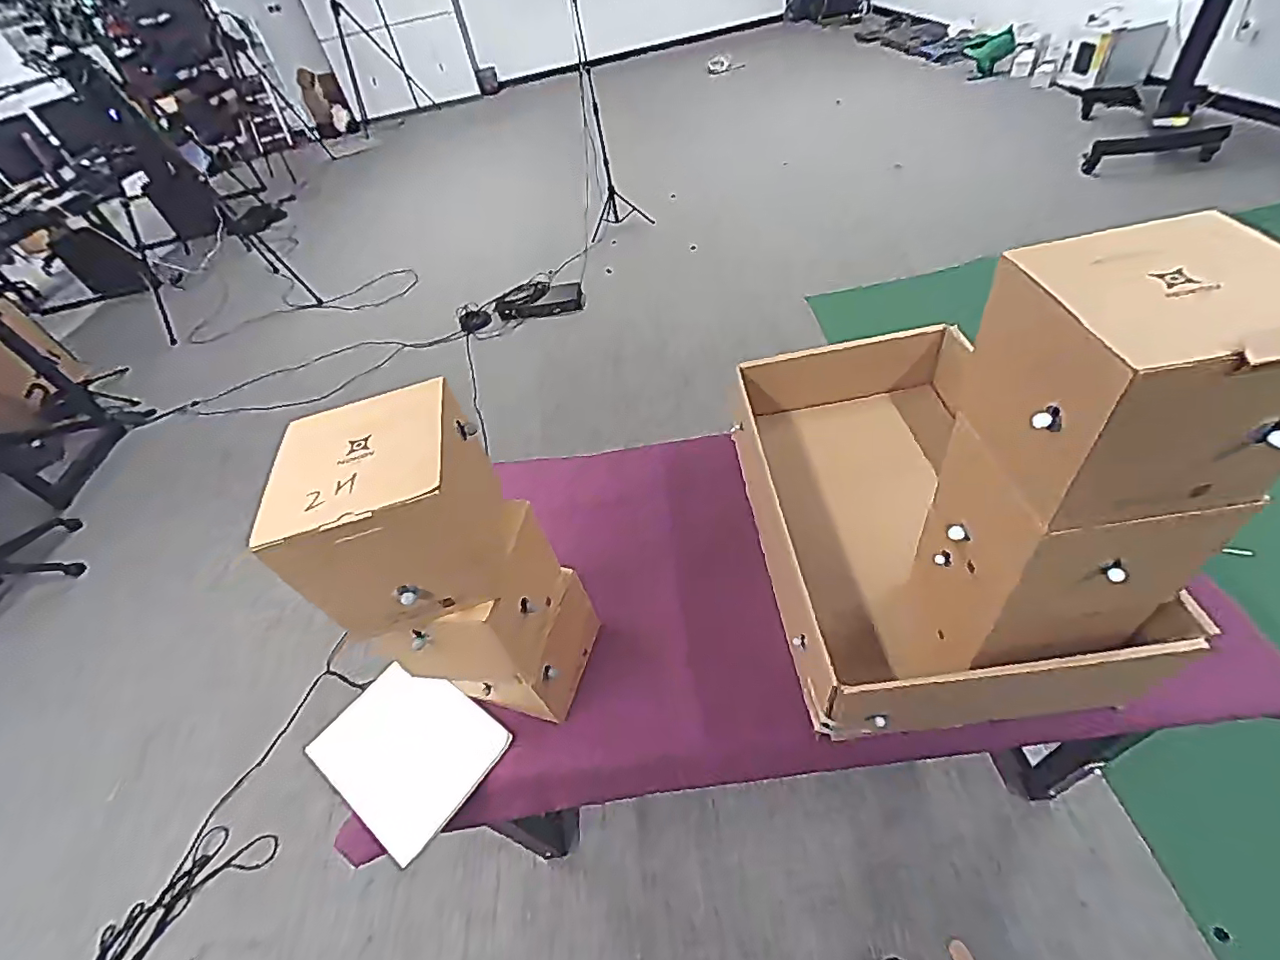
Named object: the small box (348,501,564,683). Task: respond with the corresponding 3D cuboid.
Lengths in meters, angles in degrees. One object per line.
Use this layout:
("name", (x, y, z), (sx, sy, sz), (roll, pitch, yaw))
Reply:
("small box", (-0.210, 0.141, 0.678), (0.179, 0.176, 0.168), (-1, 47, 13))

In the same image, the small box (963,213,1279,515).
("small box", (0.402, -0.086, 0.446), (0.168, 0.176, 0.179), (-9, 46, 7))

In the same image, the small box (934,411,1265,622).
("small box", (0.436, 0.028, 0.558), (0.179, 0.176, 0.168), (-10, 46, 8))

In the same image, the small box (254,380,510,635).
("small box", (-0.245, 0.029, 0.562), (0.168, 0.176, 0.179), (-17, 46, -2))
